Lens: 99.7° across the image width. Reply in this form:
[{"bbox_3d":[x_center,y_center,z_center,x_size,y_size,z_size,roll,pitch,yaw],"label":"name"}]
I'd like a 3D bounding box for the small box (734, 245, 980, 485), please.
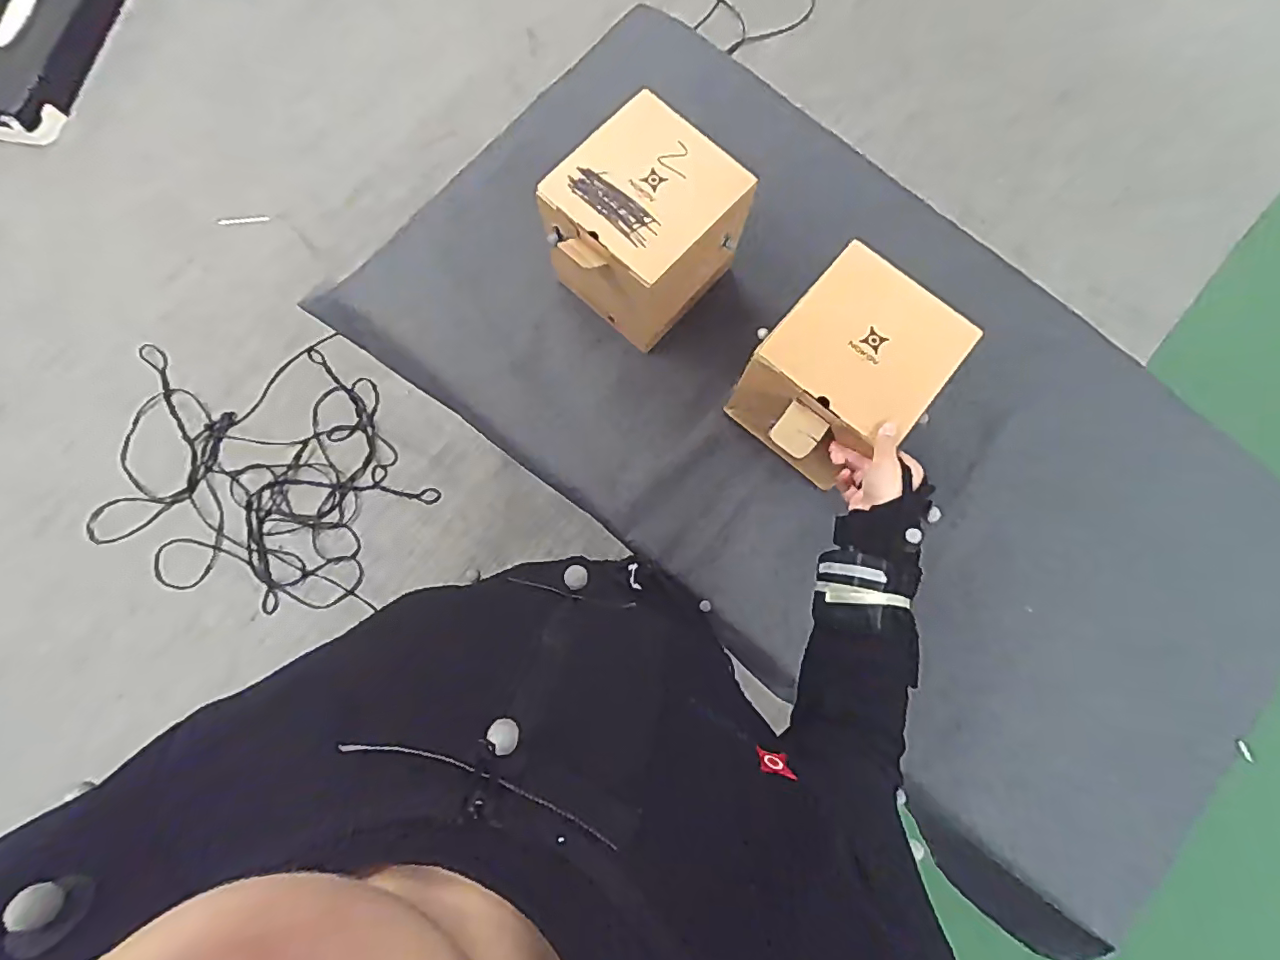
[{"bbox_3d":[0.230,-0.118,0.623,0.168,0.176,0.179,40,80,6],"label":"small box"}]
